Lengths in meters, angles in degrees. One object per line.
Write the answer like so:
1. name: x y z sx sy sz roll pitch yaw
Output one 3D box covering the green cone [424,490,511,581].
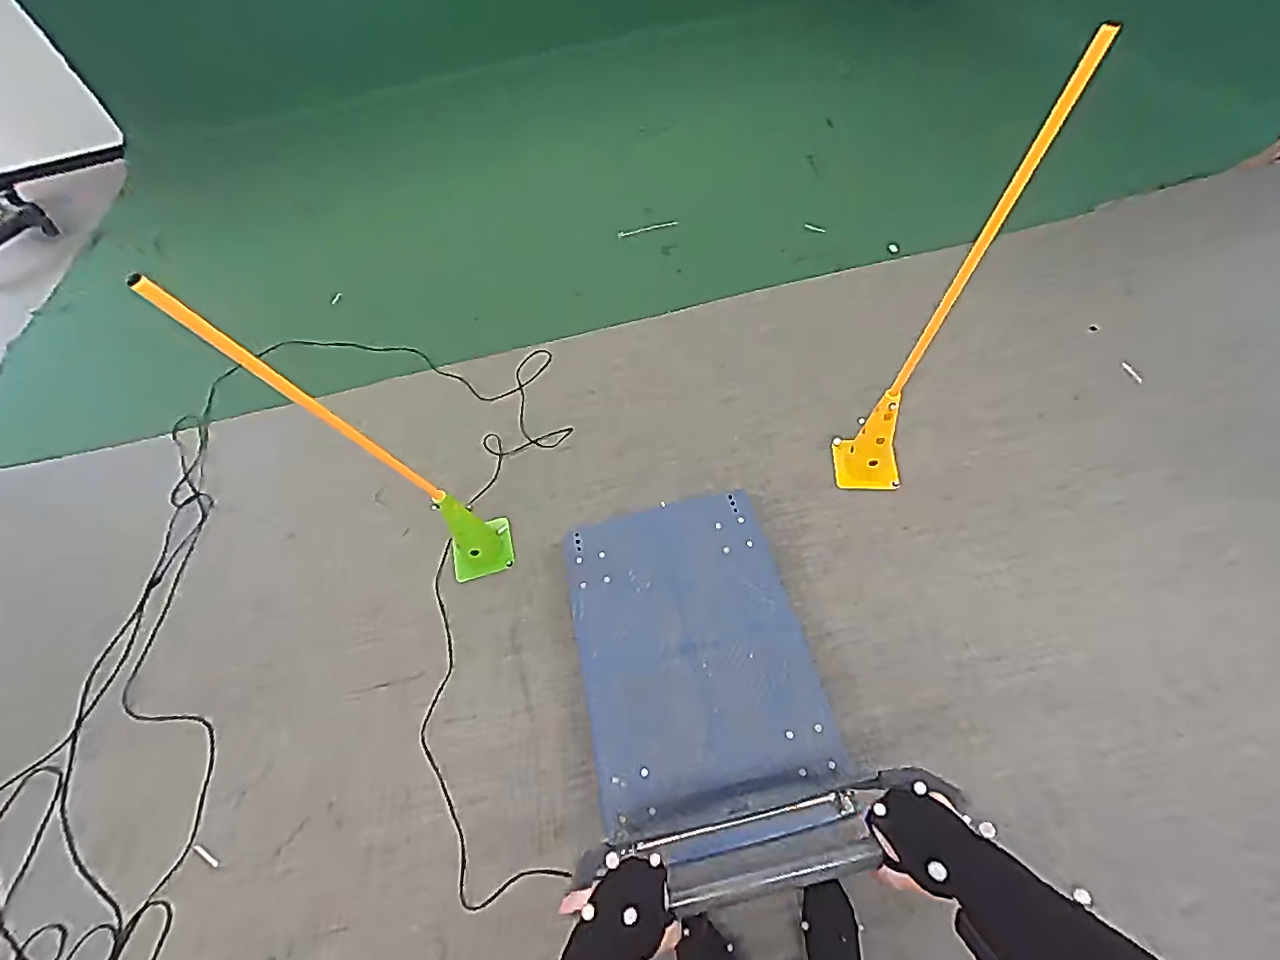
1. green cone: -0.564 0.136 1.678 0.202 0.368 0.200 -18 56 -2
